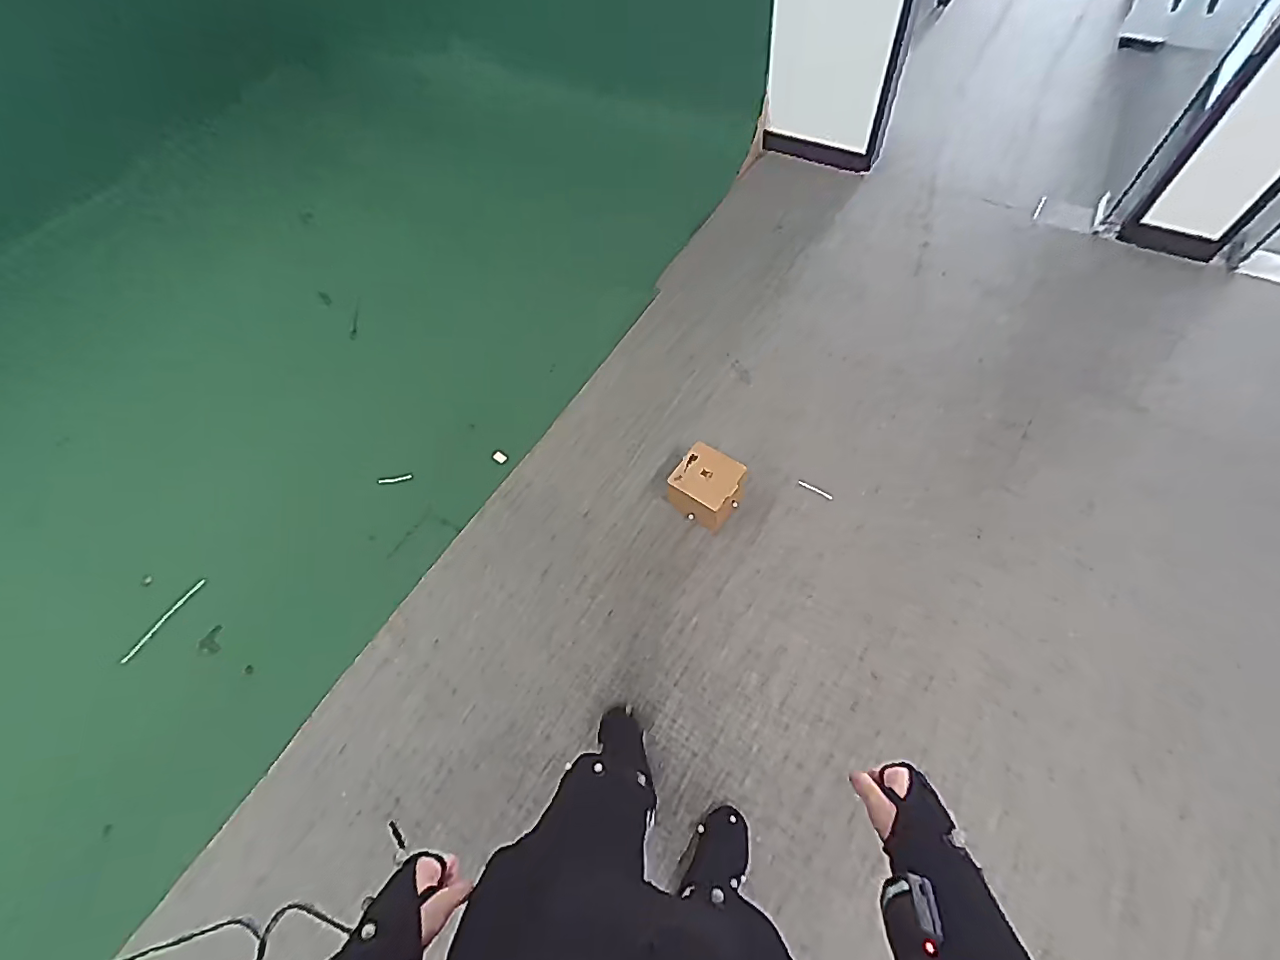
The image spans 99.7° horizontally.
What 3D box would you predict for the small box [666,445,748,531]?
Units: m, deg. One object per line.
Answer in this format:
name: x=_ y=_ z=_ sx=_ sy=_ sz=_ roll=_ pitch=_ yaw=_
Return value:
small box: x=0.200 y=0.032 z=1.609 sx=0.179 sy=0.176 sz=0.168 roll=32 pitch=72 yaw=21
